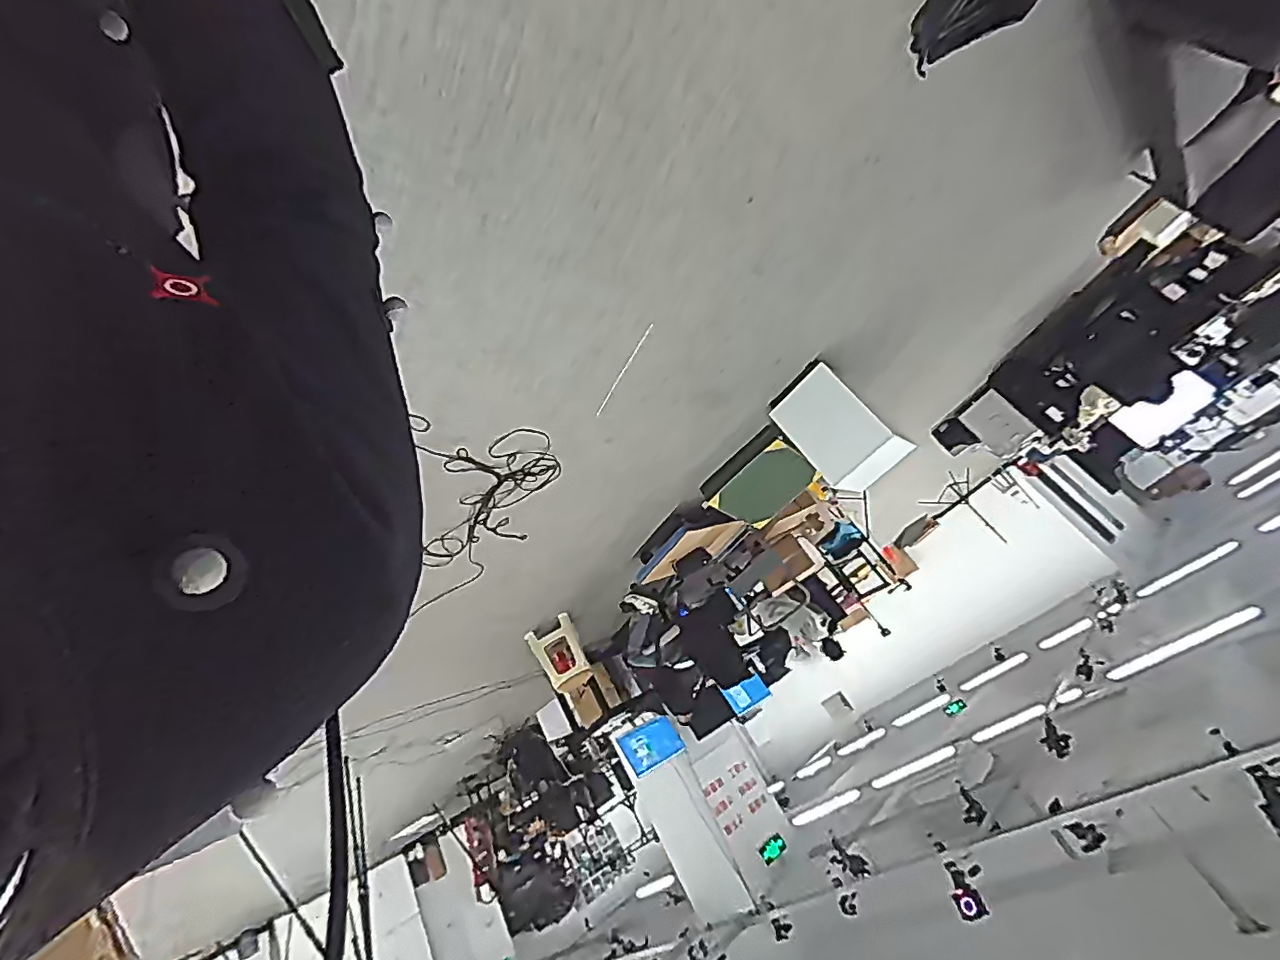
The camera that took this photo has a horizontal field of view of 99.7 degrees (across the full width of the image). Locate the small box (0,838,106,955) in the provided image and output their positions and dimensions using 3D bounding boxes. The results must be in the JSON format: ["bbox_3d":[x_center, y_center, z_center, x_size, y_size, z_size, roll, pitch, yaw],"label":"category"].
[{"bbox_3d":[-1.336,0.941,1.212,0.168,0.176,0.179,-13,147,-37],"label":"small box"}]

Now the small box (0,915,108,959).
[{"bbox_3d":[-1.264,1.073,1.149,0.179,0.176,0.168,-10,144,-40],"label":"small box"}]
